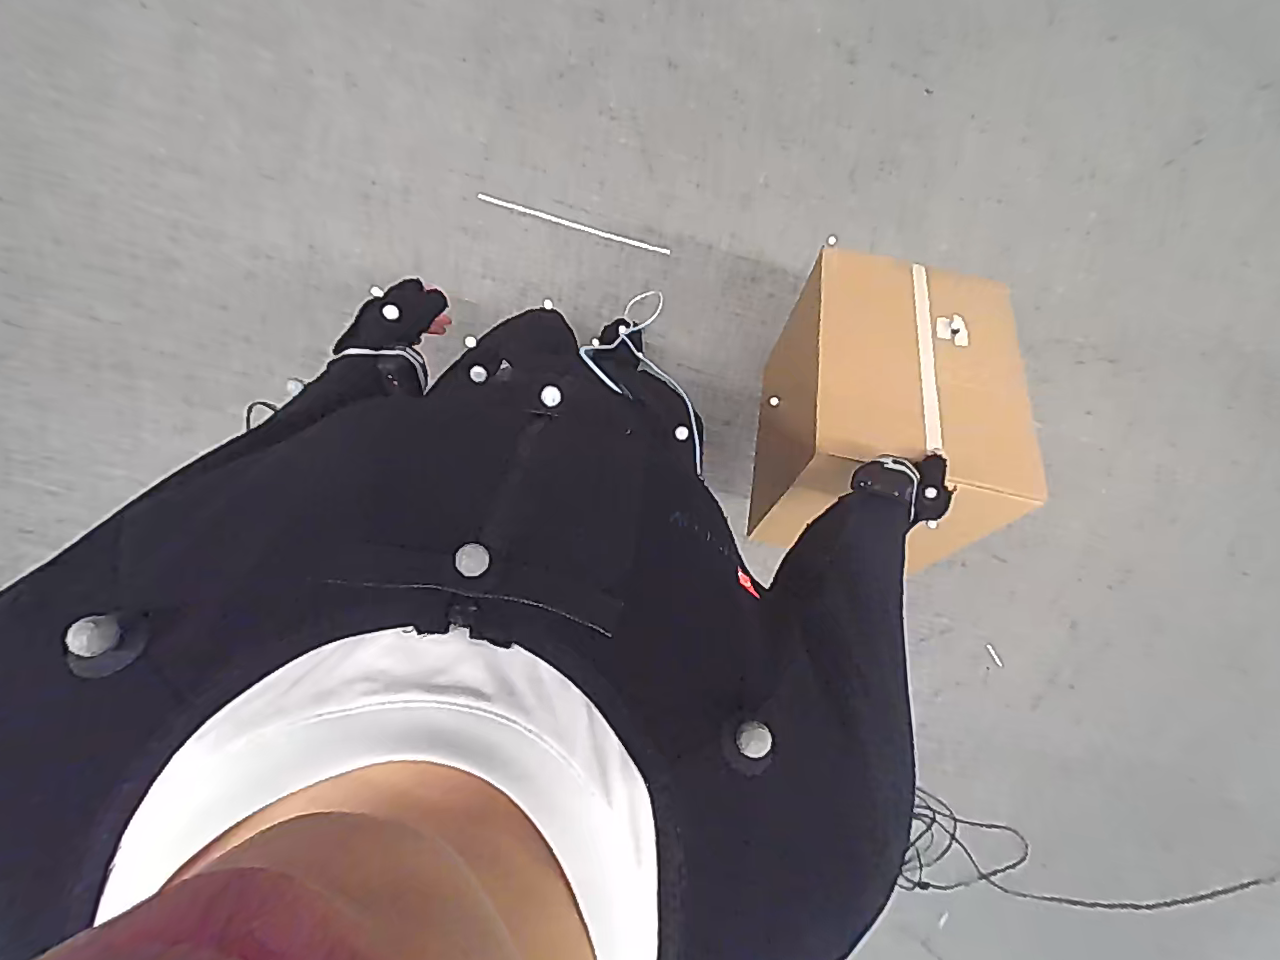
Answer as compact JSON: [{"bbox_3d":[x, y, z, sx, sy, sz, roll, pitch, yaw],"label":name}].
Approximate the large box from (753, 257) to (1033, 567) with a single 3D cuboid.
[{"bbox_3d":[0.395,-0.103,0.943,0.320,0.320,0.408,12,63,-1],"label":"large box"}]
